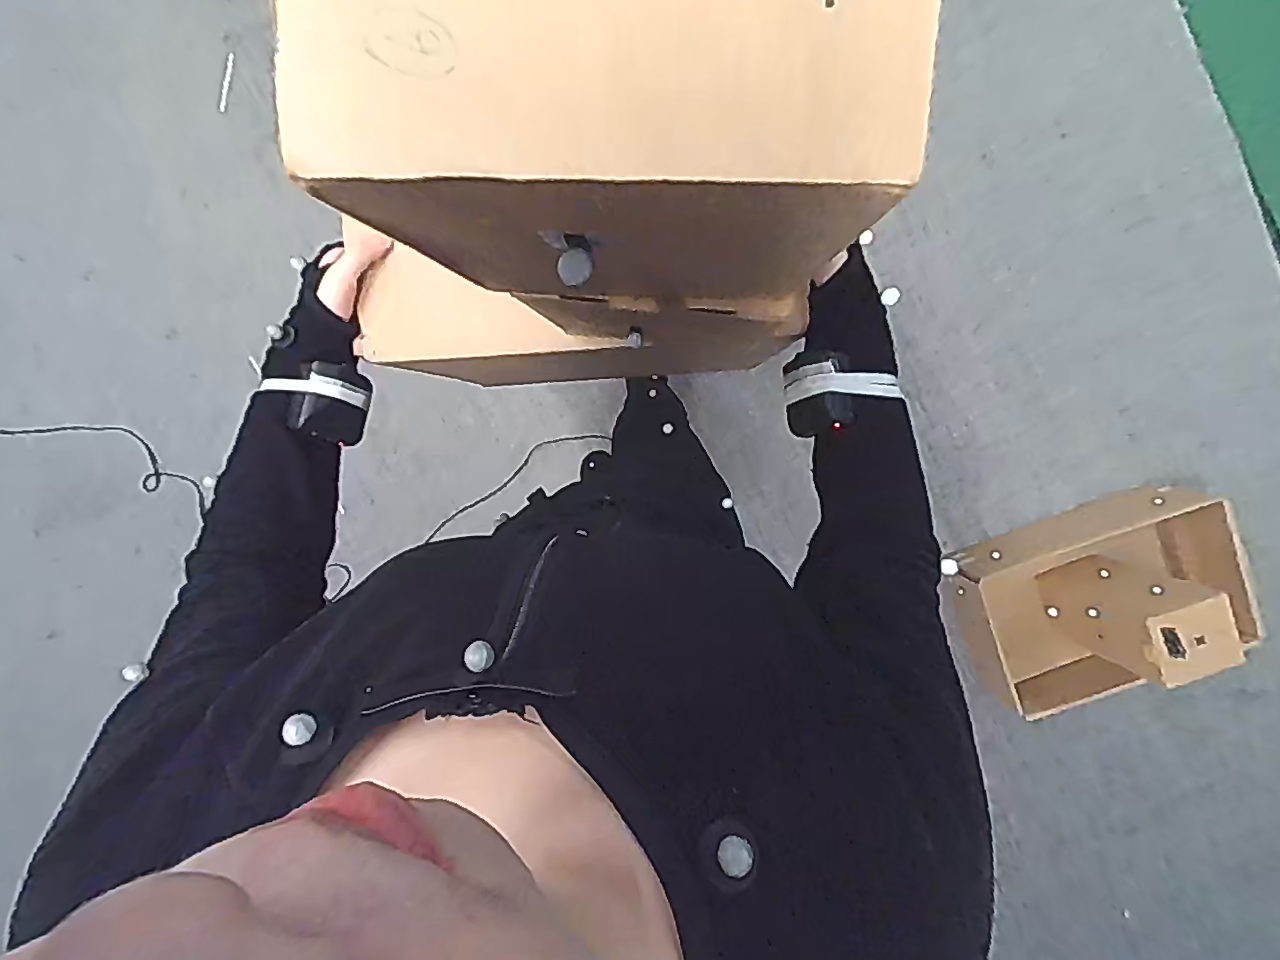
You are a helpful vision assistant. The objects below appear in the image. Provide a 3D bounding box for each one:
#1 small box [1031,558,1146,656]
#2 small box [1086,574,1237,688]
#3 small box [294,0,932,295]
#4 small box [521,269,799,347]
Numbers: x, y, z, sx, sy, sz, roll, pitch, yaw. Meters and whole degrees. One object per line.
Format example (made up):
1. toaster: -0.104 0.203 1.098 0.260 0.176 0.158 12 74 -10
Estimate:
1. small box: 1.161 0.316 1.385 0.179 0.176 0.168 -21 95 3
2. small box: 1.159 0.333 1.221 0.179 0.176 0.168 -20 96 2
3. small box: -0.003 -0.174 0.218 0.179 0.176 0.168 3 100 4
4. small box: 0.020 -0.197 0.379 0.168 0.176 0.179 7 100 2
